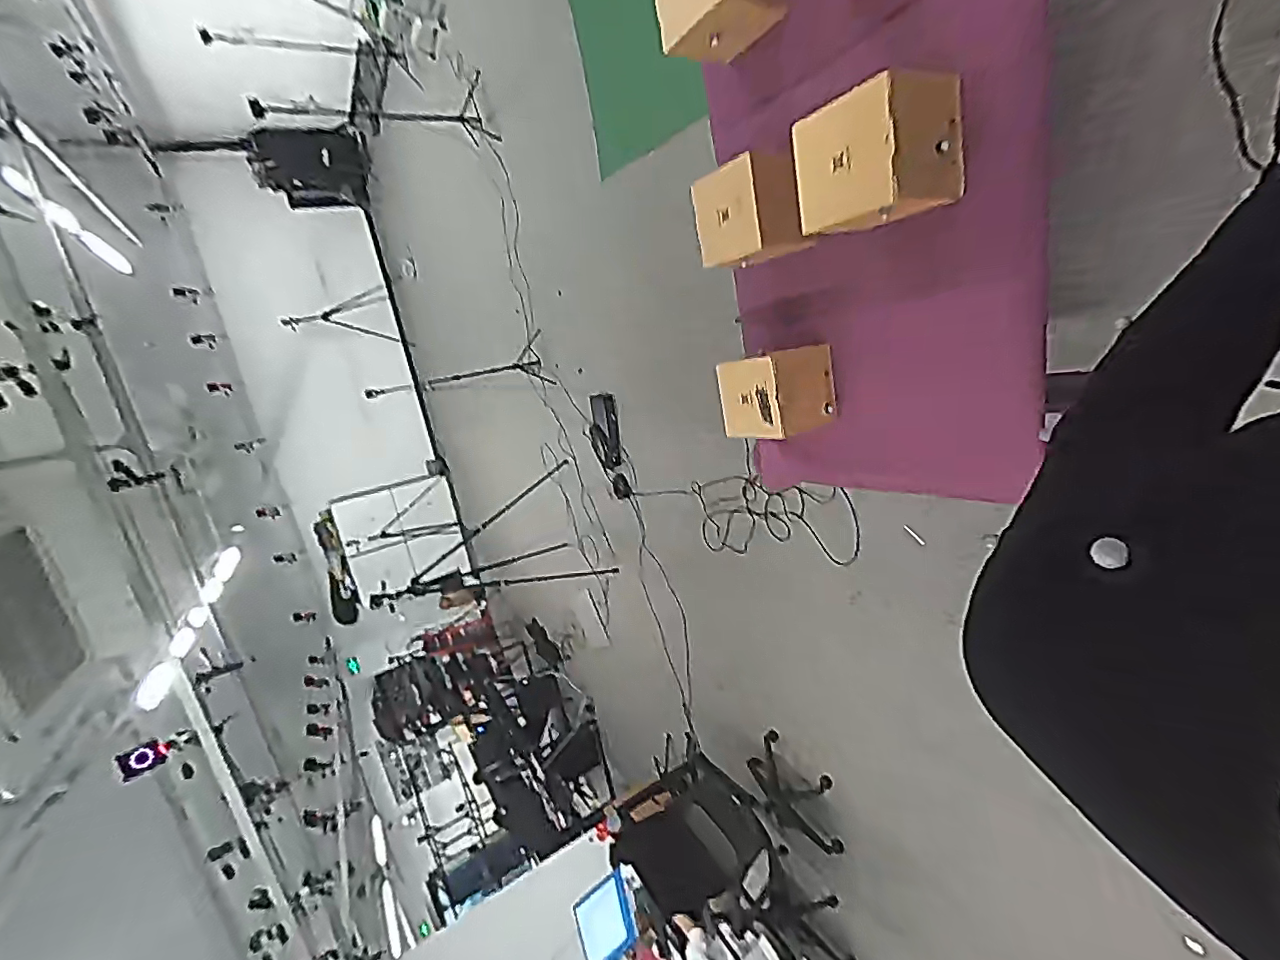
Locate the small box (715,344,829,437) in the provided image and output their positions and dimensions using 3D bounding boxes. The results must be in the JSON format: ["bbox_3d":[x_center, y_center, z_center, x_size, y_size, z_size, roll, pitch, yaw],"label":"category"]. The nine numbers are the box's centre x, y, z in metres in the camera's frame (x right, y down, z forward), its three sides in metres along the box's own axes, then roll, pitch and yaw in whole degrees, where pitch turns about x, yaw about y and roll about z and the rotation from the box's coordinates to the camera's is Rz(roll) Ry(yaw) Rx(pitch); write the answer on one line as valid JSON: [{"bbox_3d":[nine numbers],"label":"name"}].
[{"bbox_3d":[0.292,-0.194,1.173,0.179,0.176,0.168,11,114,59],"label":"small box"}]

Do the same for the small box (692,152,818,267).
[{"bbox_3d":[0.231,-0.537,1.090,0.179,0.176,0.168,12,116,57],"label":"small box"}]

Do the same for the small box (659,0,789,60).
[{"bbox_3d":[0.150,-0.923,1.007,0.179,0.176,0.168,11,116,58],"label":"small box"}]
